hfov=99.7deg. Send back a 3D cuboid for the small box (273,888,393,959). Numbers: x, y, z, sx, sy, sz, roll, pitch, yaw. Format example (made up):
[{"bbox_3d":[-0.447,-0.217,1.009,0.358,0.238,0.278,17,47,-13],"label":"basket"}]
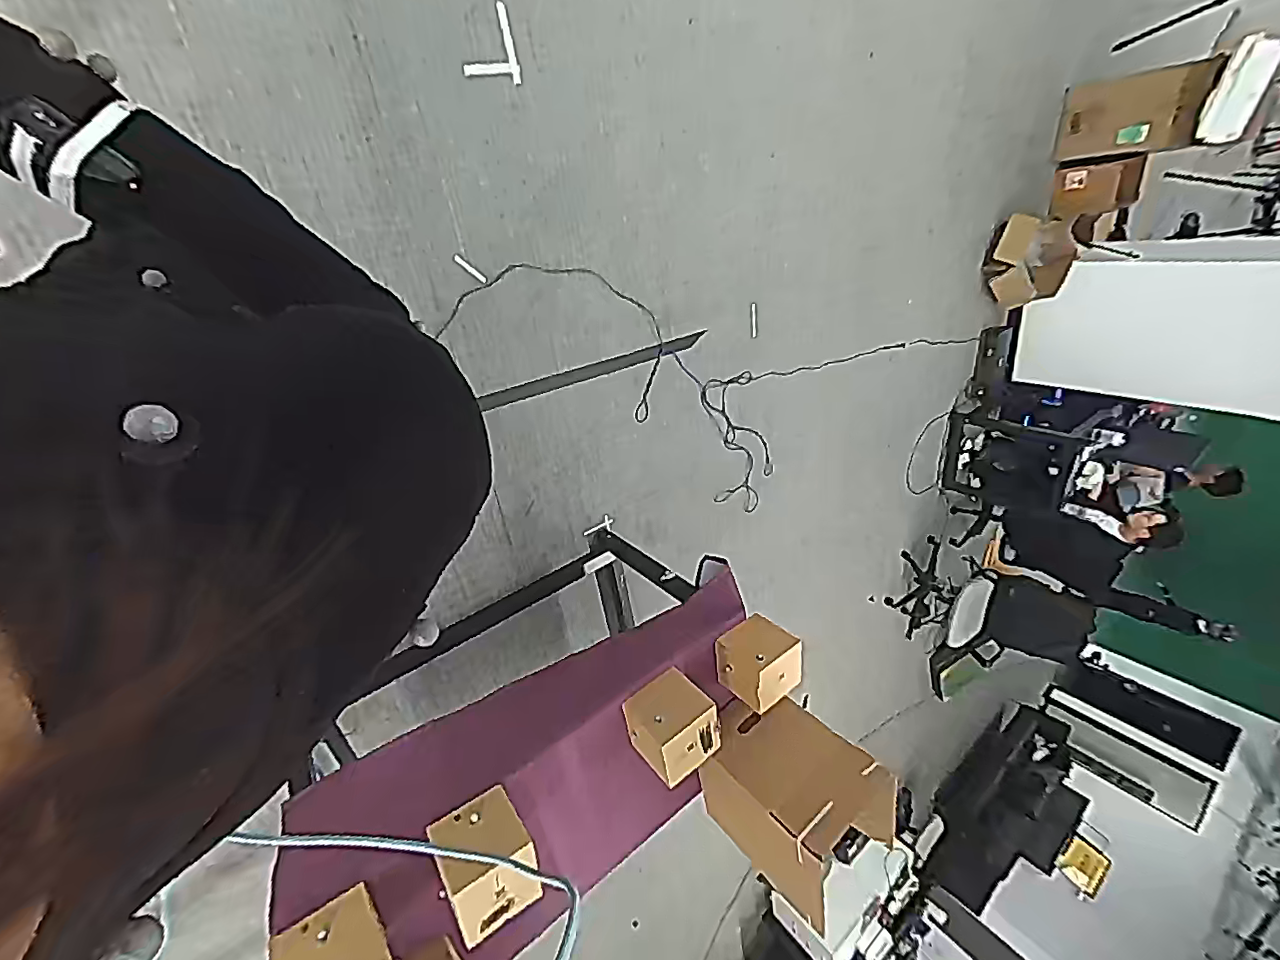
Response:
[{"bbox_3d":[-0.552,0.913,0.994,0.168,0.176,0.179,-19,119,-33],"label":"small box"}]

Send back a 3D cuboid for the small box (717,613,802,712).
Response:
[{"bbox_3d":[0.341,0.516,1.554,0.179,0.176,0.168,-24,121,-28],"label":"small box"}]
